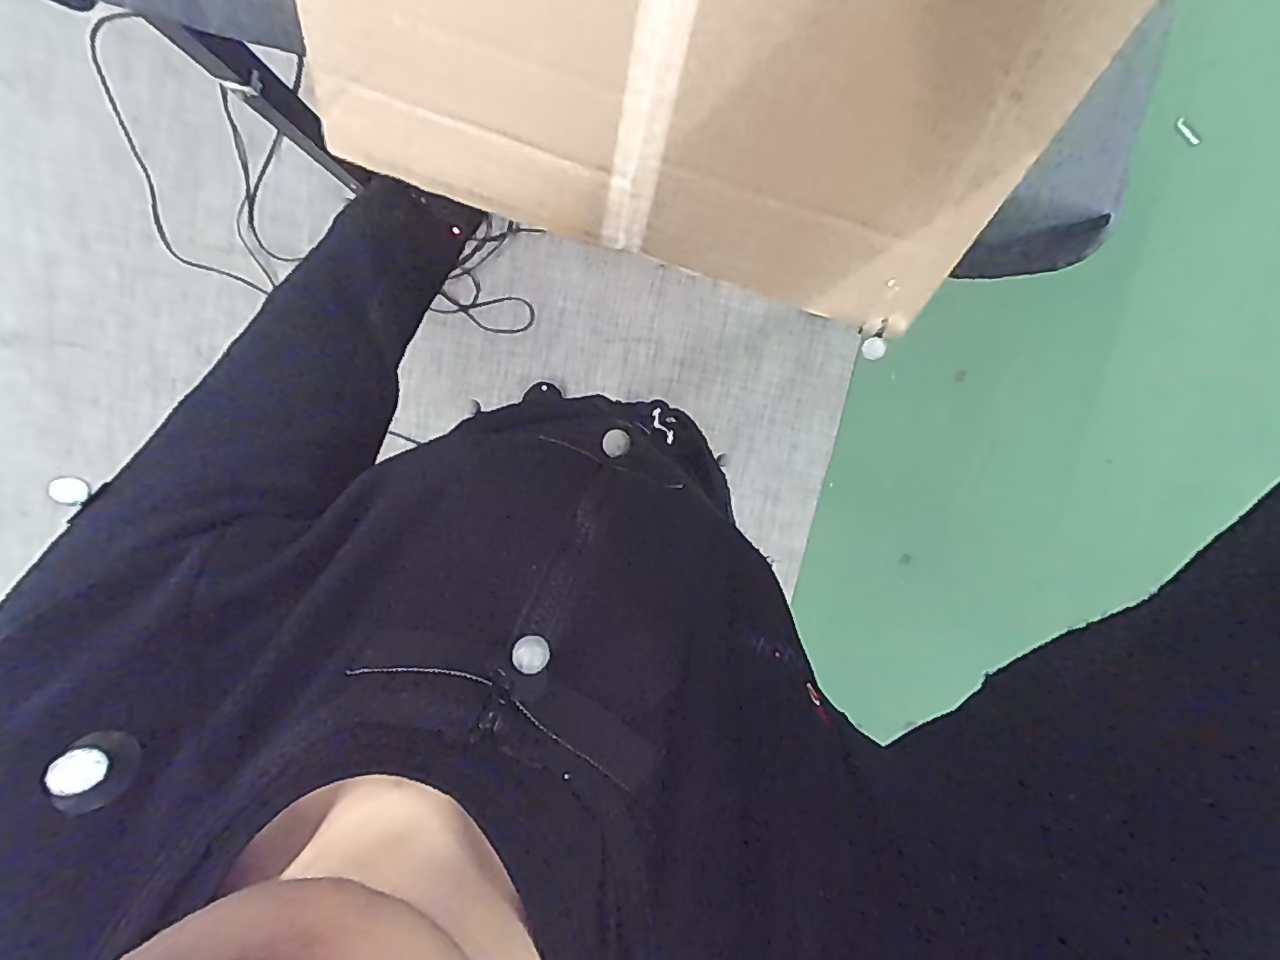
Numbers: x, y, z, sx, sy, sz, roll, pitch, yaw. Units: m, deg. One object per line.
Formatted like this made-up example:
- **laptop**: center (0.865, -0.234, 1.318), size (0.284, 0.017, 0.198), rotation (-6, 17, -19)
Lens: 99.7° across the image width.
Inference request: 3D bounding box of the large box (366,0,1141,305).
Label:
- **large box**: center (0.076, -0.367, 0.233), size (0.320, 0.408, 0.320), rotation (16, 53, -2)
